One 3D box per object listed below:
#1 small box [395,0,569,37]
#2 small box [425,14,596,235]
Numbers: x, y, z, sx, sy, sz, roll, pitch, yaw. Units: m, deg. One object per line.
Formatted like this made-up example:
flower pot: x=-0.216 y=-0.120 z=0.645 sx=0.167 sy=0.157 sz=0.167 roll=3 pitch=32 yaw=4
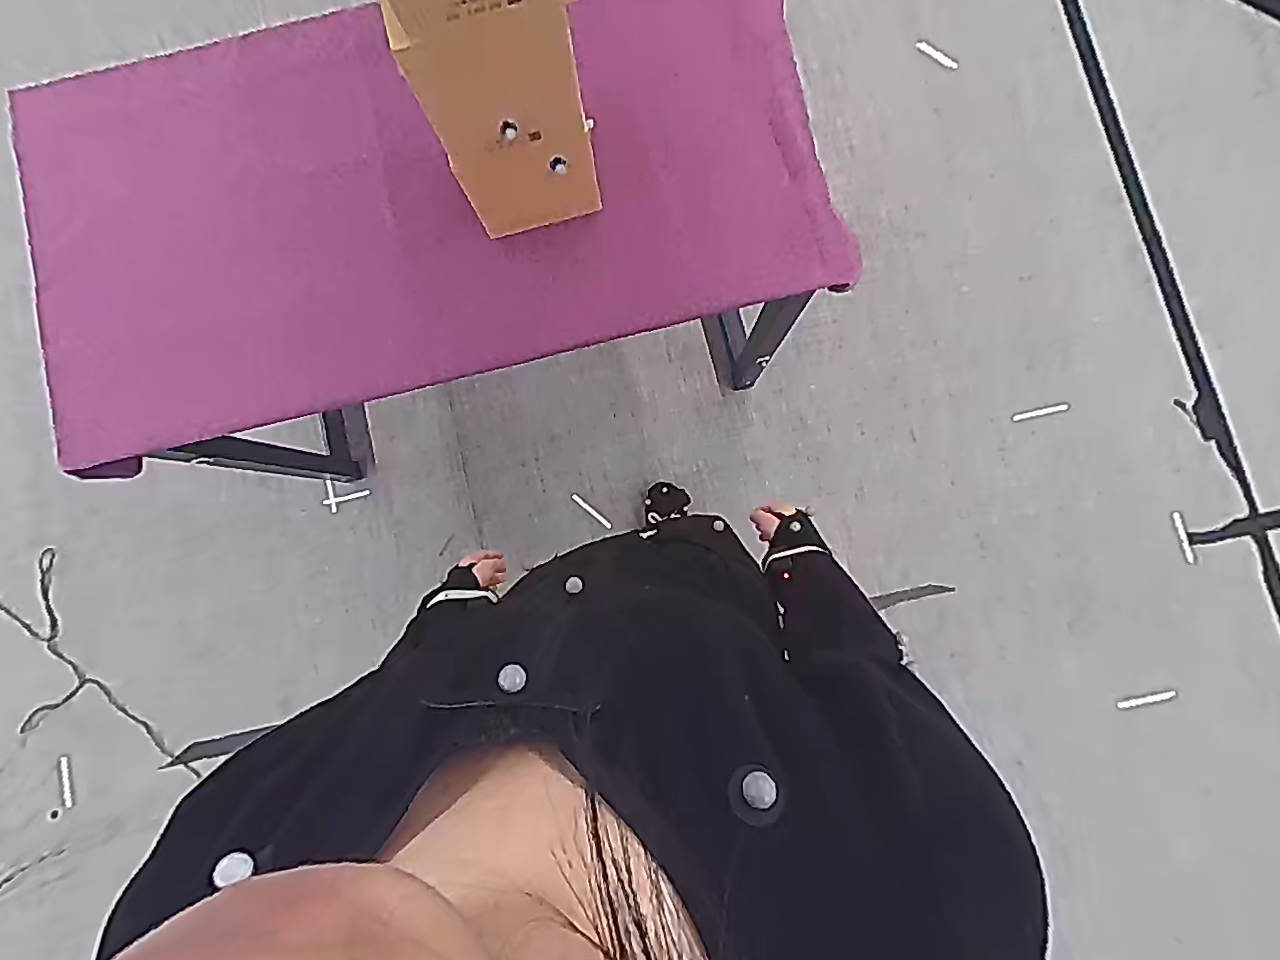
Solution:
small box: x=-0.153 y=-0.504 z=0.415 sx=0.168 sy=0.176 sz=0.179 roll=-15 pitch=85 yaw=0
small box: x=-0.163 y=-0.471 z=0.741 sx=0.179 sy=0.176 sz=0.168 roll=-15 pitch=84 yaw=1
